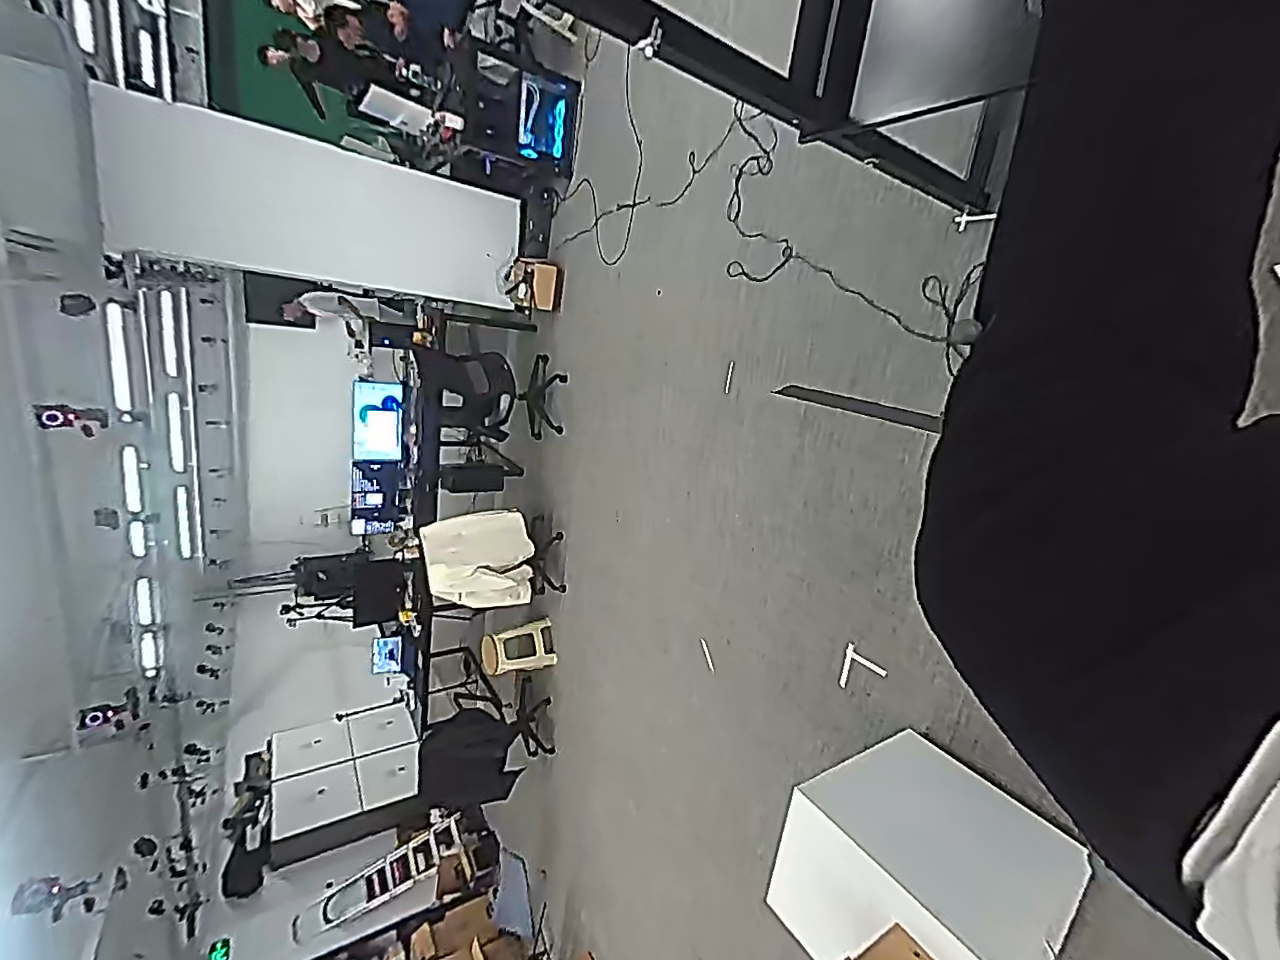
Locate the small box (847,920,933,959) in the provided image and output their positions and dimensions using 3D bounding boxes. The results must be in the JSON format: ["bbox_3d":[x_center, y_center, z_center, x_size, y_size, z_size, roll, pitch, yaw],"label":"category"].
[{"bbox_3d":[0.532,1.081,1.124,0.168,0.176,0.179,29,116,52],"label":"small box"}]
